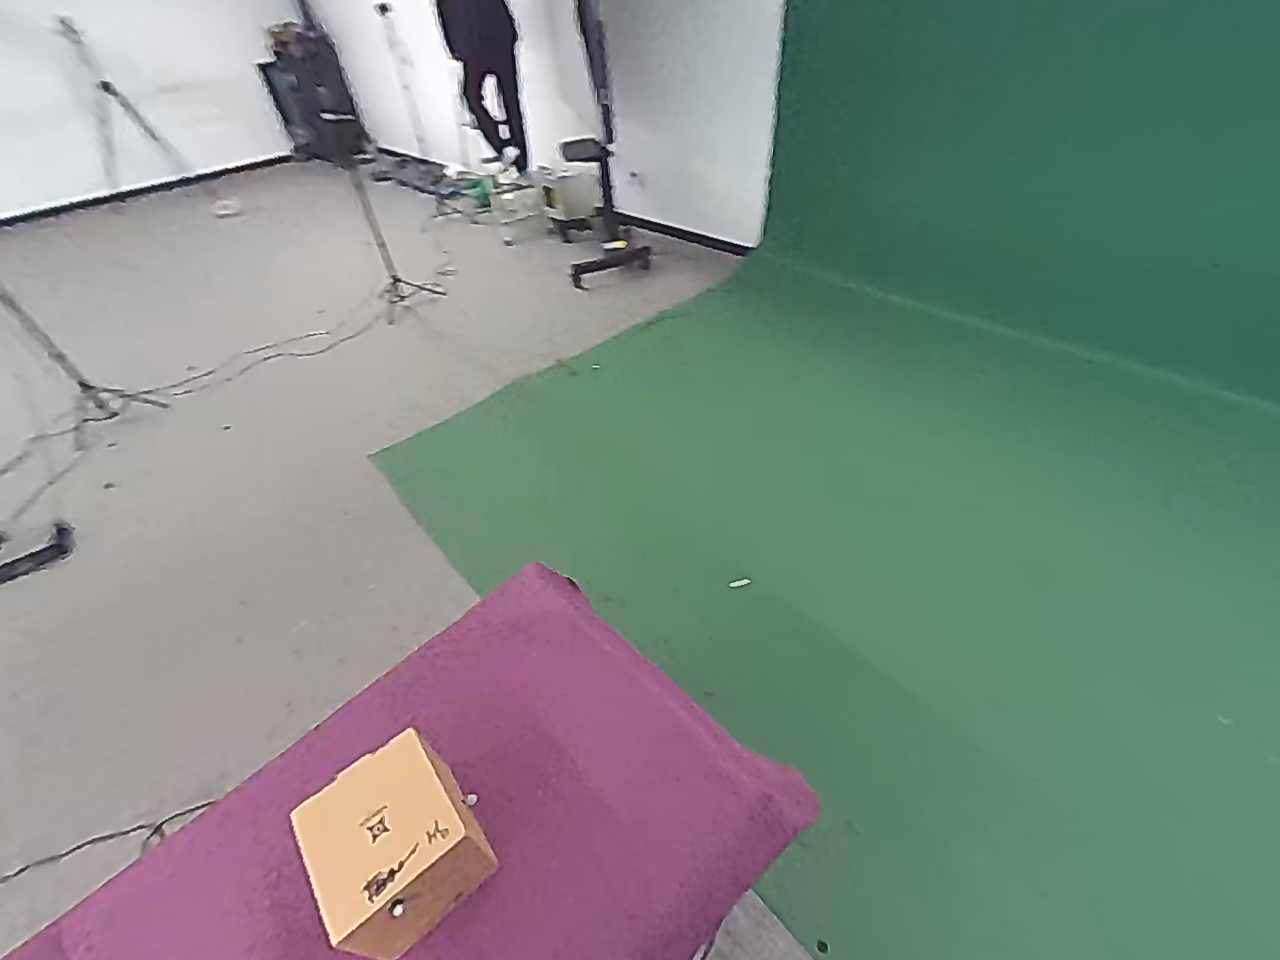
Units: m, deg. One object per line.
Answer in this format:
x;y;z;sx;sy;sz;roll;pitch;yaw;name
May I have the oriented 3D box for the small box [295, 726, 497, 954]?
-0.318;0.481;0.724;0.168;0.176;0.179;-32;49;-25;small box
